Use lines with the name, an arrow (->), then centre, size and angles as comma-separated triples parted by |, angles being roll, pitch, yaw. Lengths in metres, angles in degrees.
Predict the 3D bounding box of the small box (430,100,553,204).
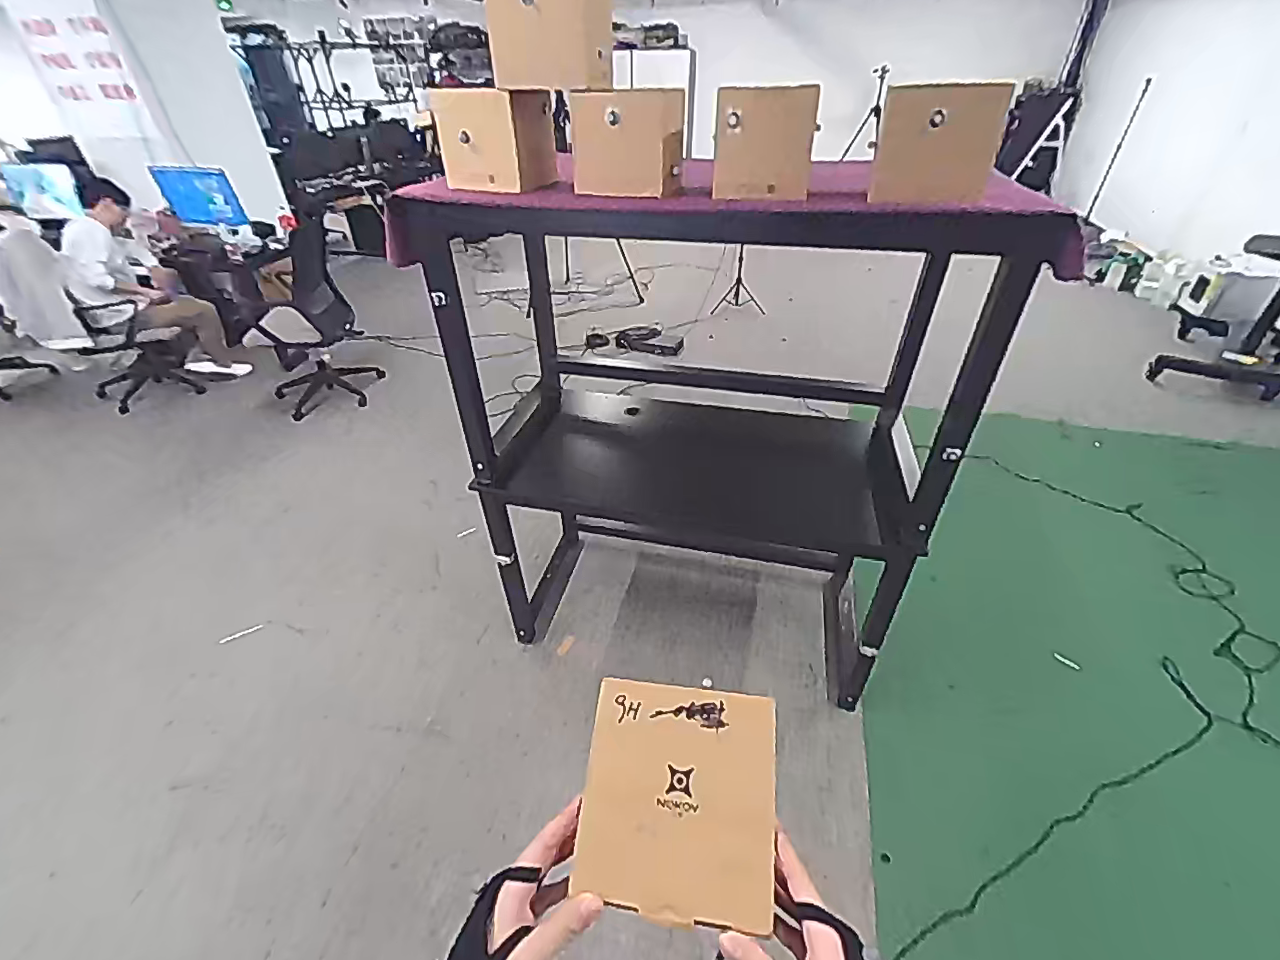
small box -> -0.287, -0.664, 1.093 | 0.168, 0.176, 0.179 | 10, 36, 15

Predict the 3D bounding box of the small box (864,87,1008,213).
small box -> 0.488, -0.562, 0.922 | 0.179, 0.176, 0.168 | 9, 39, 16

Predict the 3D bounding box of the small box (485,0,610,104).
small box -> -0.159, -0.775, 0.964 | 0.179, 0.176, 0.168 | 7, 37, 10
